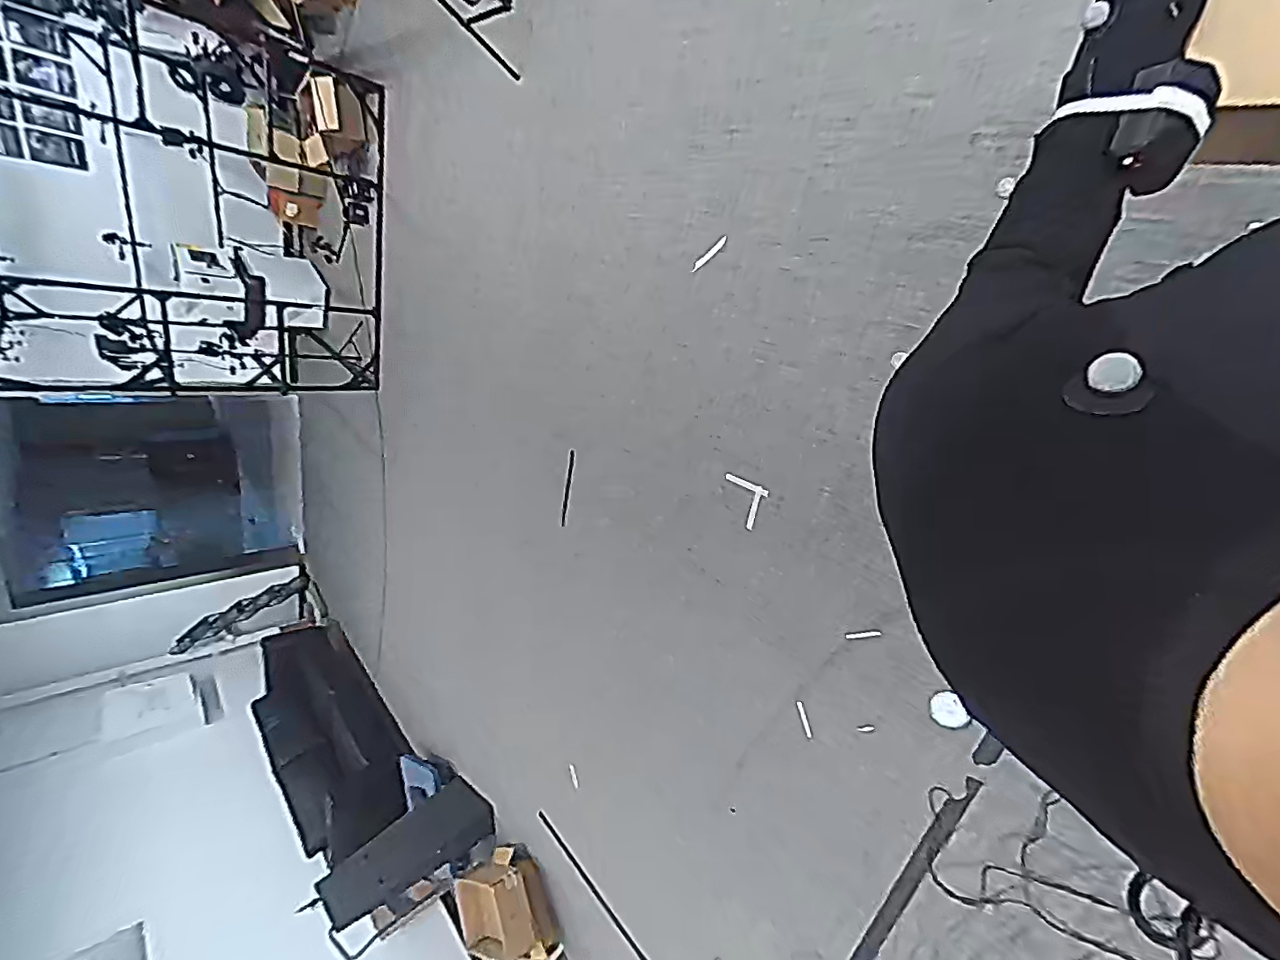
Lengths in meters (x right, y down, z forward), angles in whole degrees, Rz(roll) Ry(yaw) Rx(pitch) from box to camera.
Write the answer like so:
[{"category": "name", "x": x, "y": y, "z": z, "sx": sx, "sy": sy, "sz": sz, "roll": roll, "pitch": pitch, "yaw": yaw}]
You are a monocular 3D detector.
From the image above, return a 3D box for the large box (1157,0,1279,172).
[{"category": "large box", "x": 0.647, "y": -0.388, "z": 0.337, "sx": 0.408, "sy": 0.320, "sz": 0.320, "roll": 25, "pitch": 123, "yaw": 35}]
